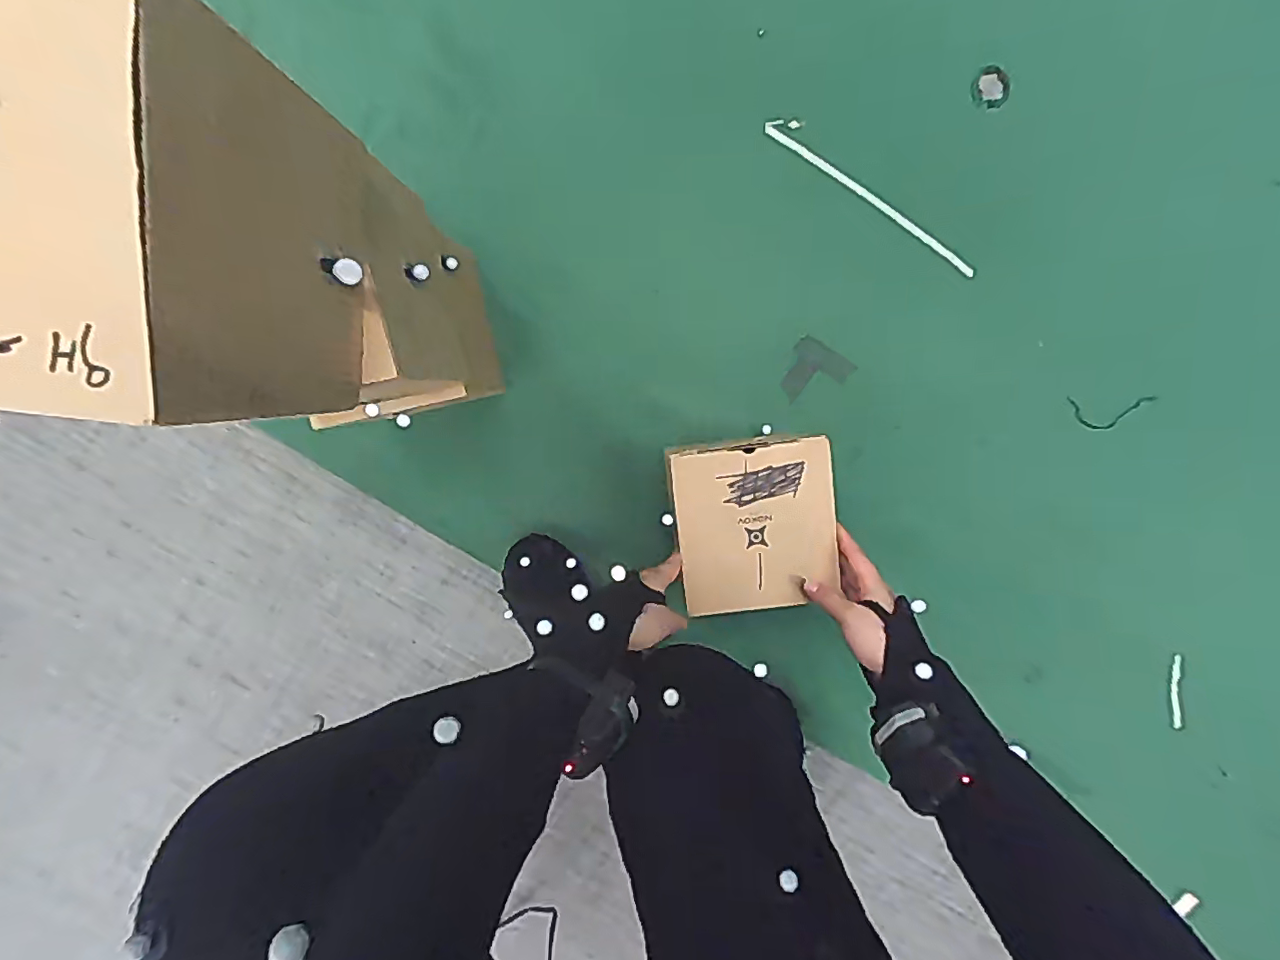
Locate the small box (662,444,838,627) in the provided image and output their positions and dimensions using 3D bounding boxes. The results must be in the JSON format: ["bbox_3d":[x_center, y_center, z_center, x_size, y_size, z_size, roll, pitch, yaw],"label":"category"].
[{"bbox_3d":[0.117,0.052,0.636,0.168,0.176,0.179,-7,97,2],"label":"small box"}]

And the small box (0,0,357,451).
[{"bbox_3d":[-0.270,-0.118,0.281,0.168,0.176,0.179,6,99,-1],"label":"small box"}]

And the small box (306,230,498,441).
[{"bbox_3d":[-0.274,-0.152,0.608,0.168,0.176,0.179,-13,99,2],"label":"small box"}]
